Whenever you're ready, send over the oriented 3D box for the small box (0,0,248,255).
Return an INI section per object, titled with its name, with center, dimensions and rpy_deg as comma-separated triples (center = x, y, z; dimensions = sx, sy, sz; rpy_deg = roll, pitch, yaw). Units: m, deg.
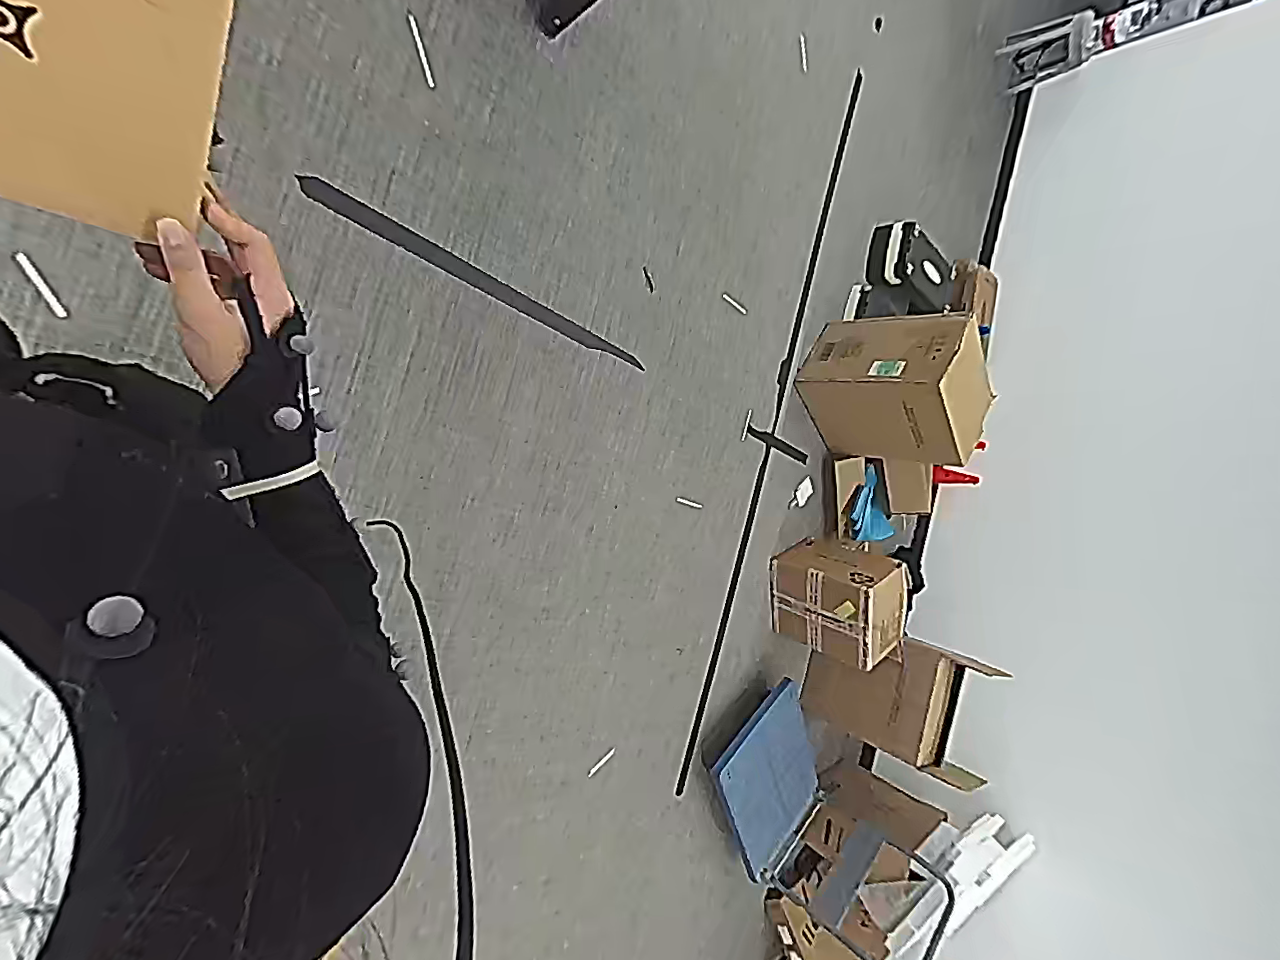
[small box]
center = -0.354, -0.253, 0.306
dimensions = 0.179, 0.176, 0.168
rpy_deg = 8, 109, -46
